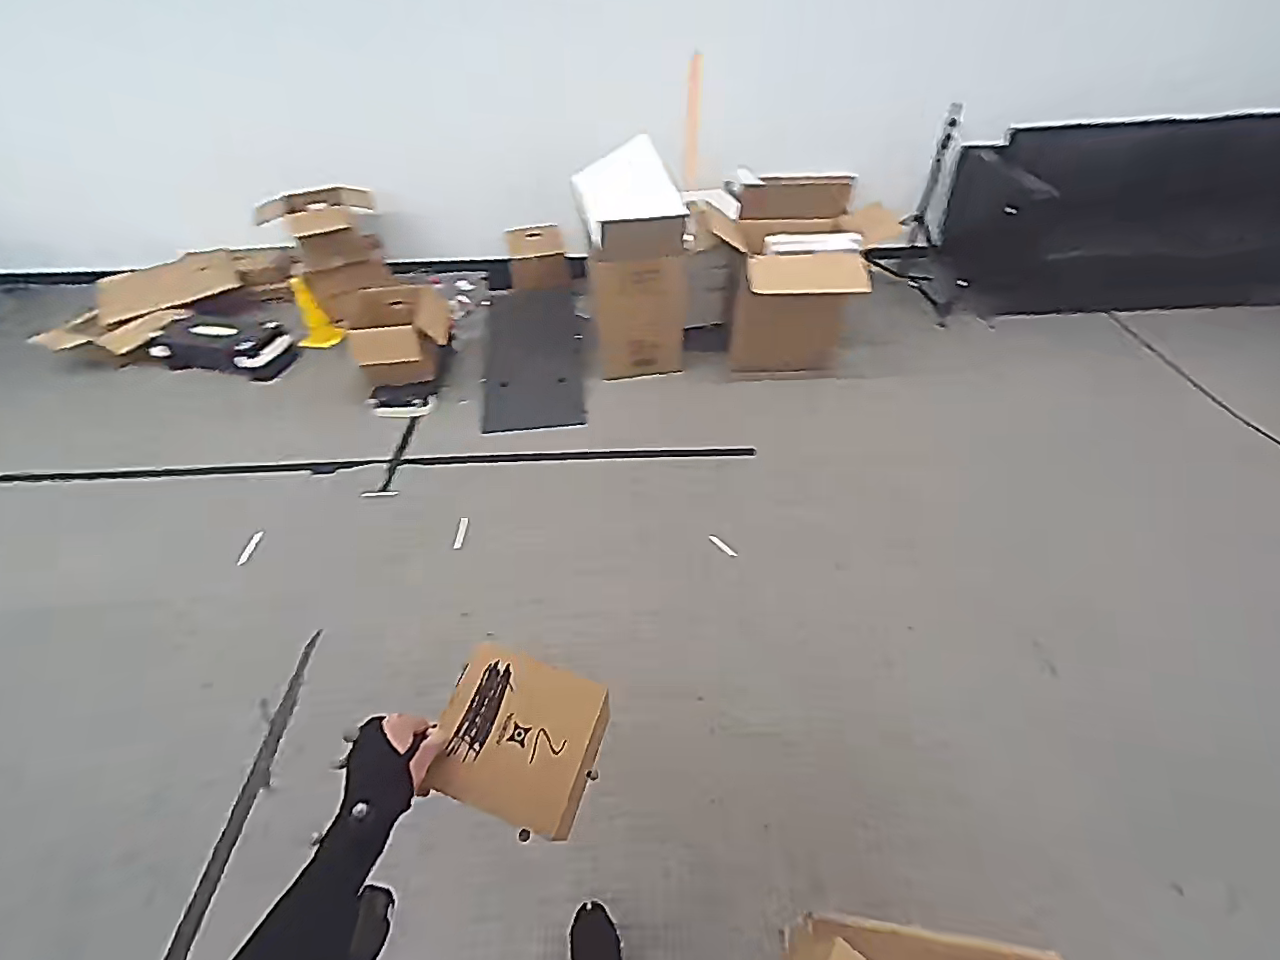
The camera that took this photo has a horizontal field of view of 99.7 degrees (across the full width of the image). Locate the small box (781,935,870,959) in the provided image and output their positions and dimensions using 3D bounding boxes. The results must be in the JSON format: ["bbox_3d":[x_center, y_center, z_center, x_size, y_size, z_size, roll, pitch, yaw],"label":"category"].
[{"bbox_3d":[0.232,0.645,0.592,0.179,0.176,0.168,33,54,21],"label":"small box"}]
